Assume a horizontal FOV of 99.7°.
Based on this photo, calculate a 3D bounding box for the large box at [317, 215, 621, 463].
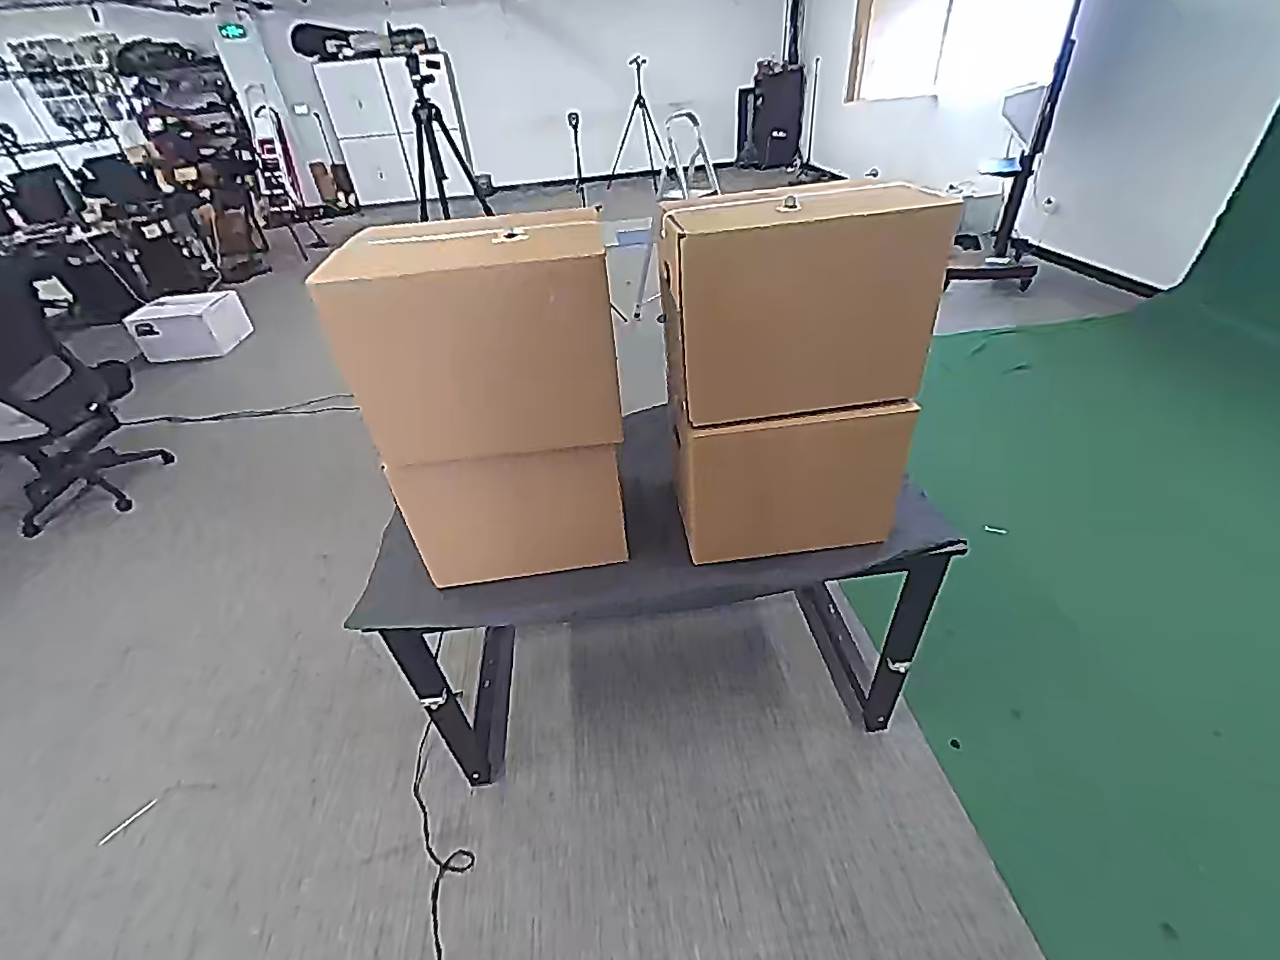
[{"bbox_3d":[-0.250,-0.253,0.941,0.408,0.320,0.320,-5,38,-3],"label":"large box"}]
